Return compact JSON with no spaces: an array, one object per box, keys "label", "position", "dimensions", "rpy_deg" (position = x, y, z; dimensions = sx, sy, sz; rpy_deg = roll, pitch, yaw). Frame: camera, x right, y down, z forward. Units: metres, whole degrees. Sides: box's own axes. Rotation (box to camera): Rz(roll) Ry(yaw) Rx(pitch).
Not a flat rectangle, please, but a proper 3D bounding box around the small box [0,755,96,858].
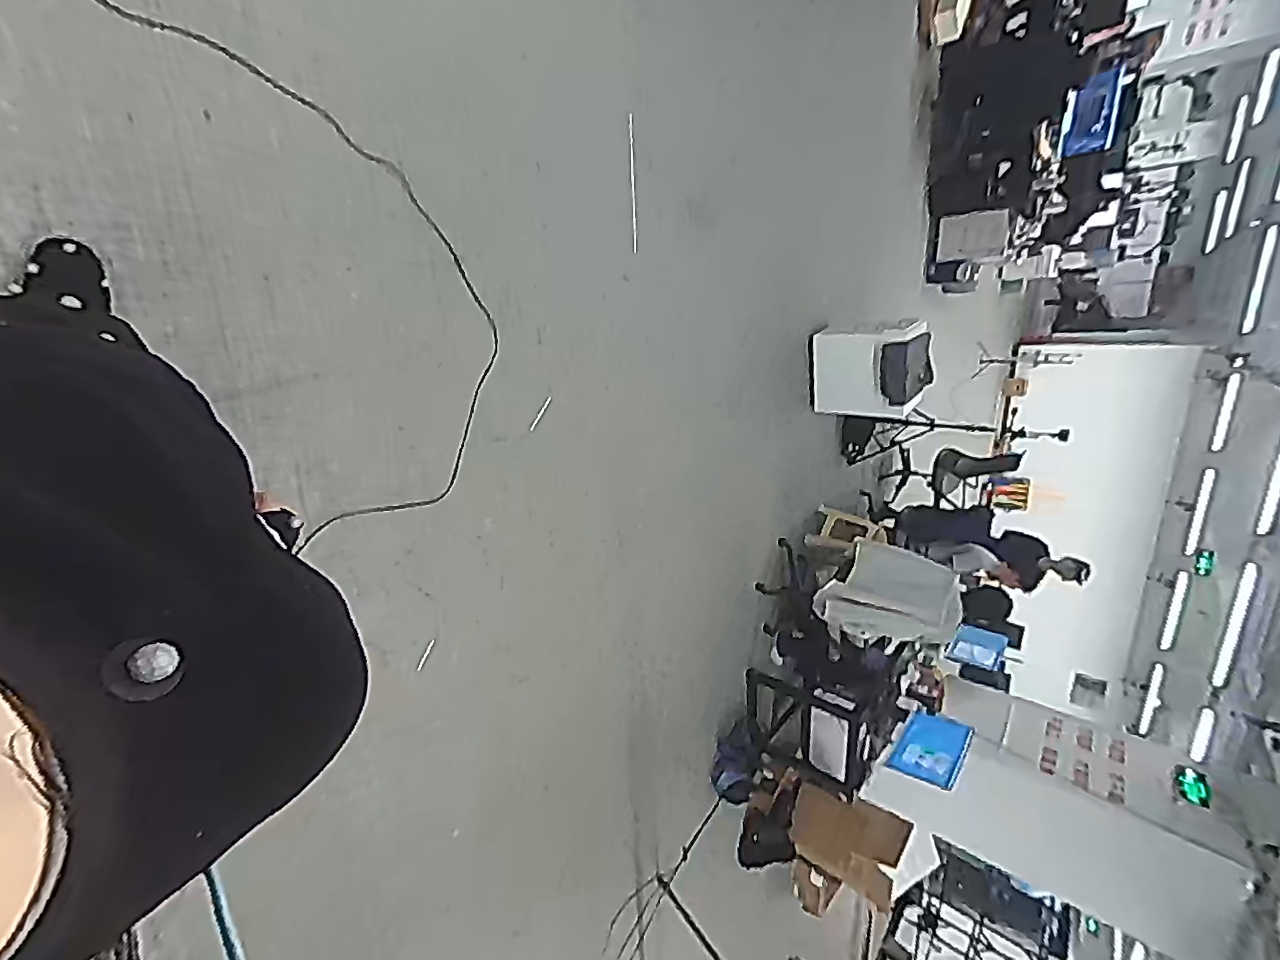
[{"label":"small box","position":[-1.156,0.651,0.994],"dimensions":[0.179,0.176,0.168],"rpy_deg":[-25,116,-41]}]
